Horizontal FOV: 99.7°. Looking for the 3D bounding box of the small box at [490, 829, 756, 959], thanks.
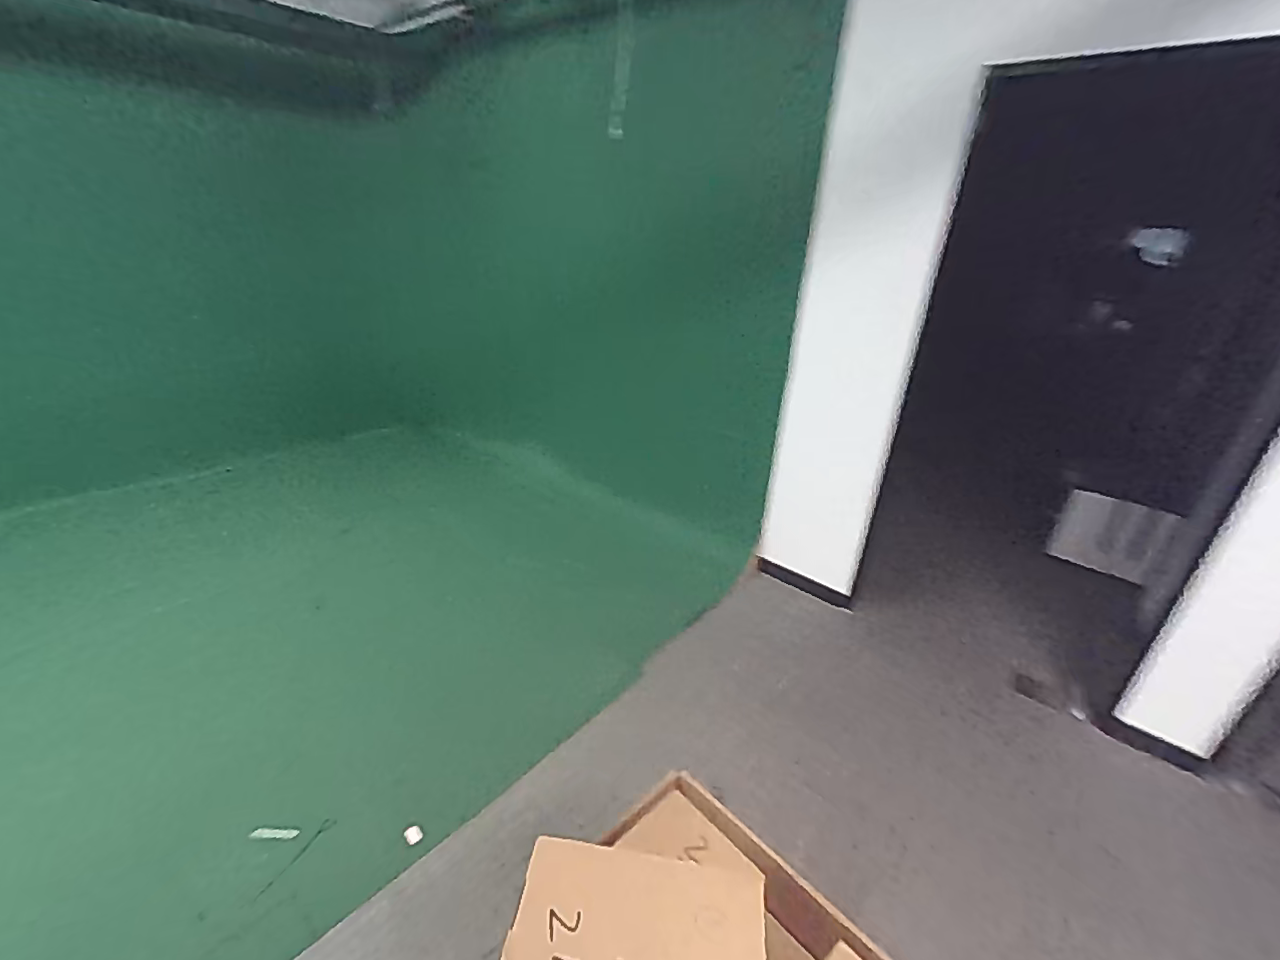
[{"bbox_3d":[-0.014,0.390,0.388,0.179,0.176,0.168,5,33,7],"label":"small box"}]
